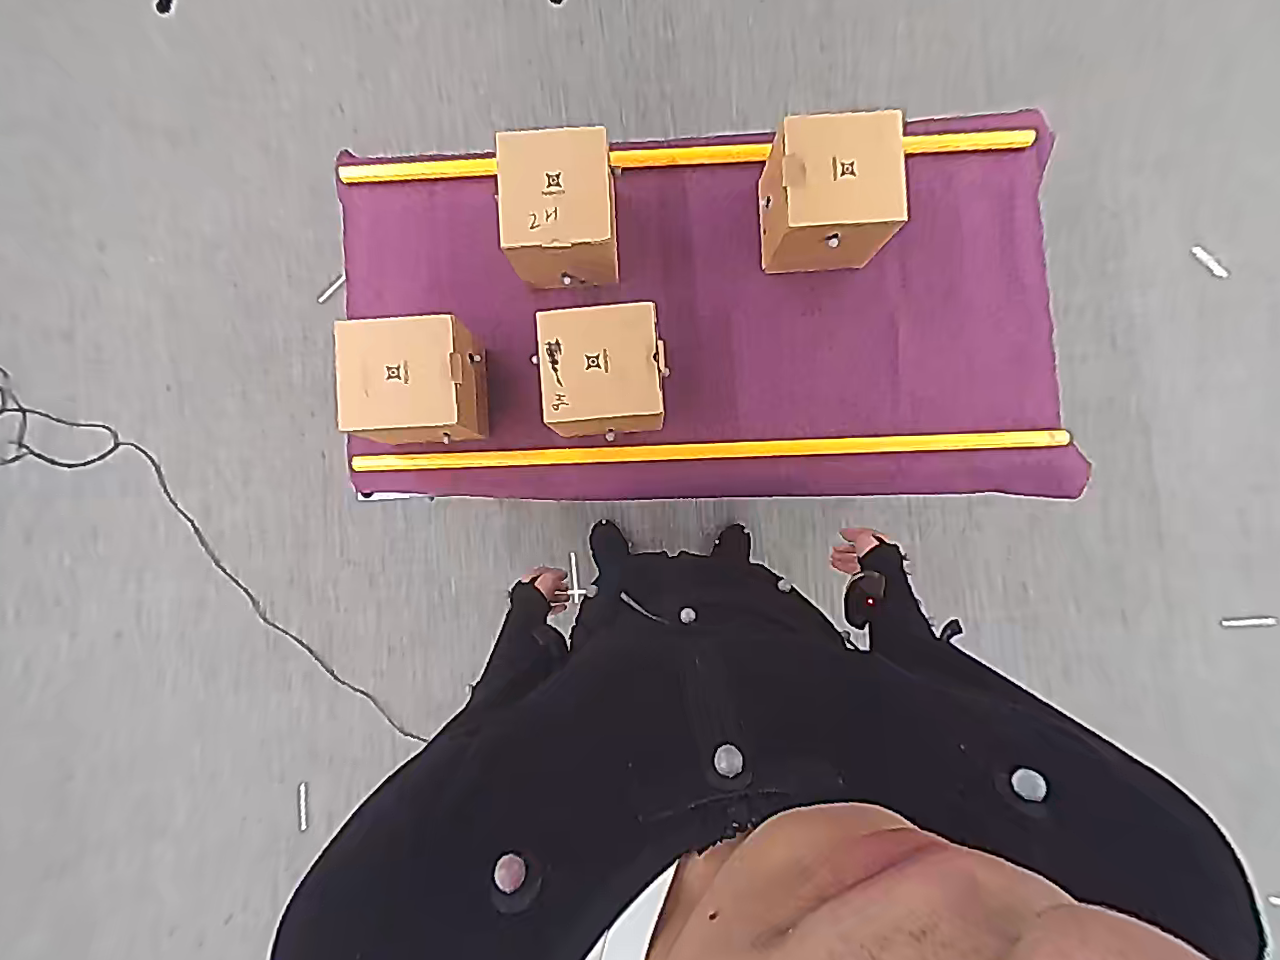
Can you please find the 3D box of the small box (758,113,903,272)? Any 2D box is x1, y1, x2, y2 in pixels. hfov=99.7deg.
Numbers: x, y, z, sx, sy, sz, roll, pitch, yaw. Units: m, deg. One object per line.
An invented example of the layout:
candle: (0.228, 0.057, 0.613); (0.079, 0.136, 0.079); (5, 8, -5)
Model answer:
small box: (0.295, -0.449, 0.867); (0.179, 0.176, 0.168); (-3, 88, 2)

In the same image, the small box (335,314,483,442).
small box: (-0.355, -0.154, 0.864); (0.179, 0.176, 0.168); (-4, 87, -1)

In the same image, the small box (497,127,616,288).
small box: (-0.128, -0.429, 0.874); (0.168, 0.176, 0.179); (-3, 89, 1)

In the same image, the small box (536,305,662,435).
small box: (-0.060, -0.166, 0.860); (0.179, 0.176, 0.168); (-4, 87, 1)
